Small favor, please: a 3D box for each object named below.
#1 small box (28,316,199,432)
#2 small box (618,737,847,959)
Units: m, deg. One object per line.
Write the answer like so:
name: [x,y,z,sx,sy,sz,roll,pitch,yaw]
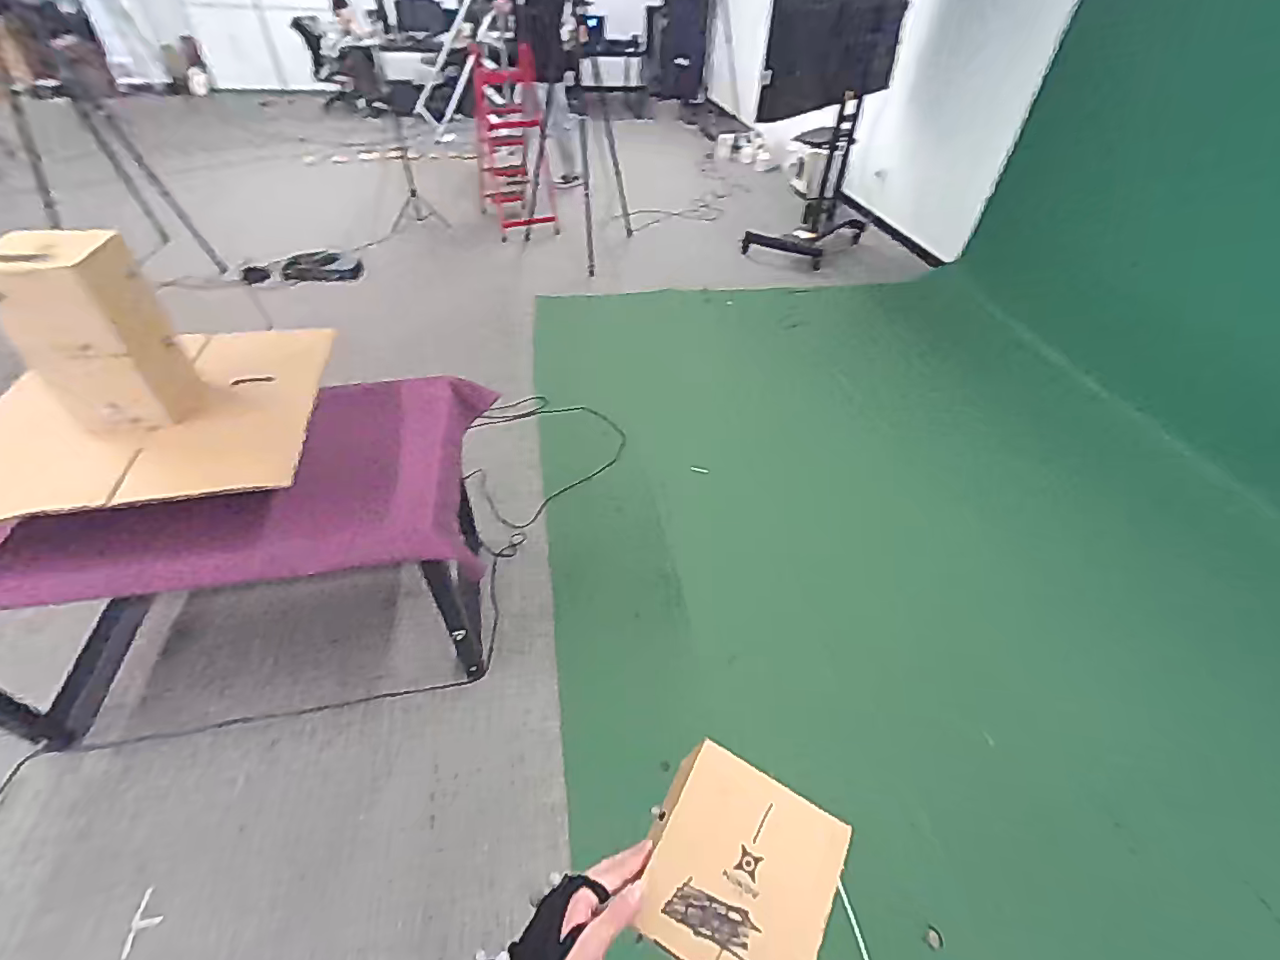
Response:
small box: [-1.053,-0.219,1.106,0.168,0.176,0.179,-6,45,-12]
small box: [0.087,0.411,0.571,0.168,0.176,0.179,27,56,12]
